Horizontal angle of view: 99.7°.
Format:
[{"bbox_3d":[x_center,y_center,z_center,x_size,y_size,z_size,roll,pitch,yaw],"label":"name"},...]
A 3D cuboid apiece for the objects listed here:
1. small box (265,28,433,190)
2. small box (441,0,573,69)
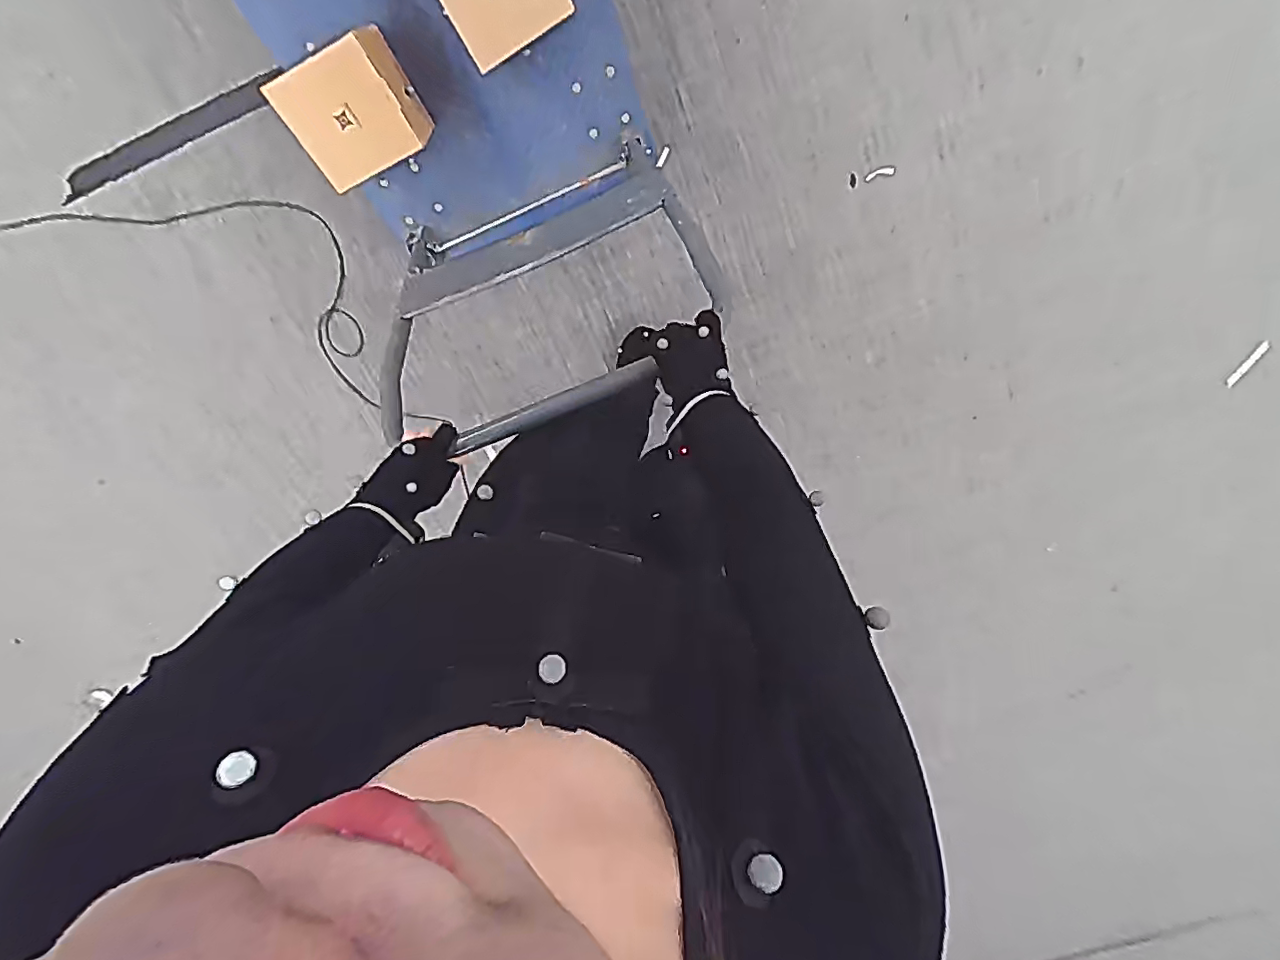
[{"bbox_3d":[-0.481,-0.636,0.927,0.179,0.176,0.168,-24,132,9],"label":"small box"},{"bbox_3d":[-0.220,-0.784,0.841,0.179,0.176,0.168,-25,132,12],"label":"small box"}]
